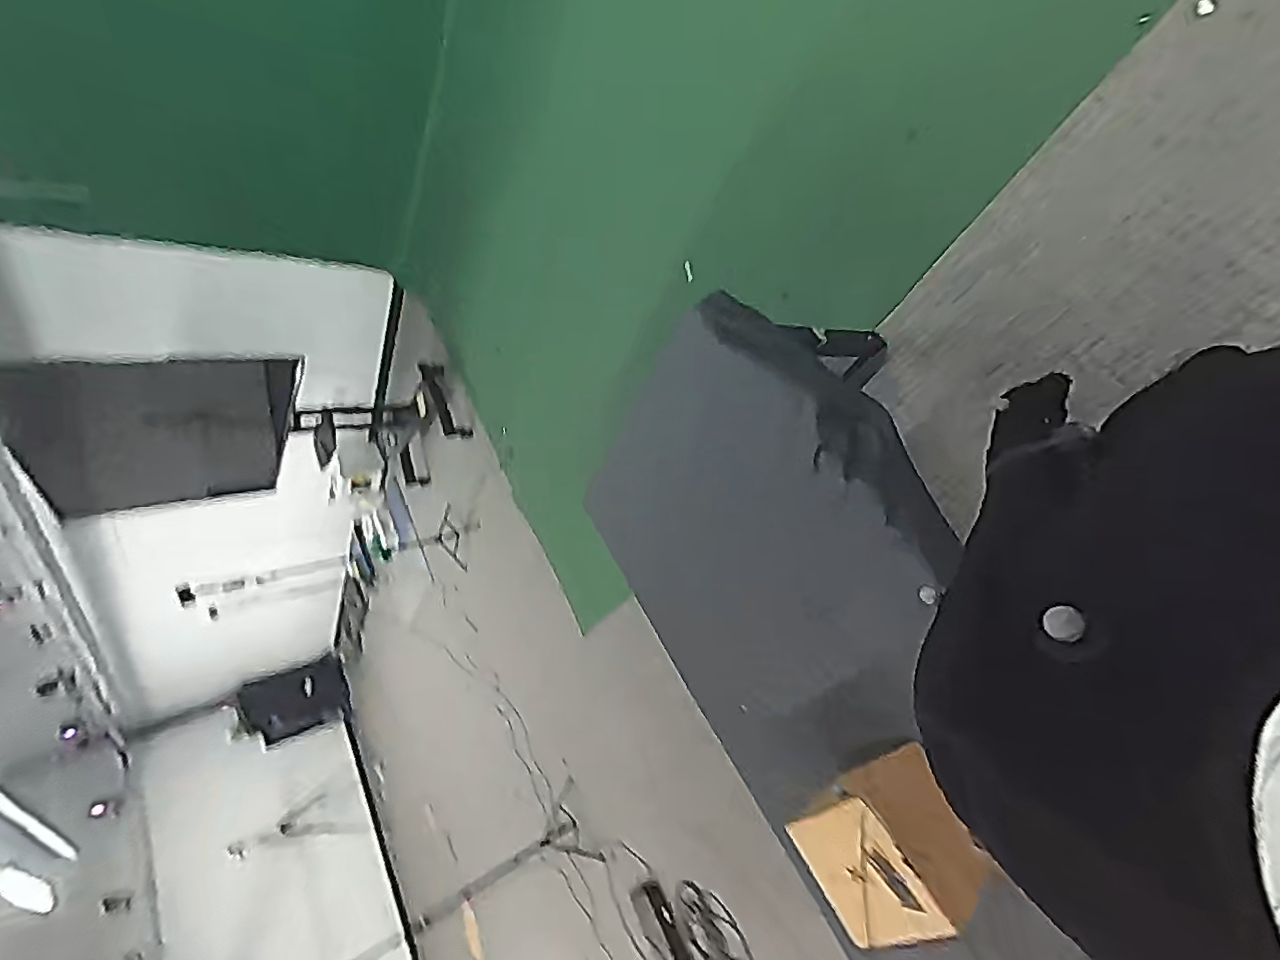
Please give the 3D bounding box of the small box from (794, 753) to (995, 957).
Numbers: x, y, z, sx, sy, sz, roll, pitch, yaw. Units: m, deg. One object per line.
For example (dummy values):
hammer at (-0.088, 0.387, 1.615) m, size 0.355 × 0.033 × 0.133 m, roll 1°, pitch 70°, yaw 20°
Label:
small box at (0.365, 0.525, 0.771) m, size 0.168 × 0.176 × 0.179 m, roll 56°, pitch 135°, yaw 26°
